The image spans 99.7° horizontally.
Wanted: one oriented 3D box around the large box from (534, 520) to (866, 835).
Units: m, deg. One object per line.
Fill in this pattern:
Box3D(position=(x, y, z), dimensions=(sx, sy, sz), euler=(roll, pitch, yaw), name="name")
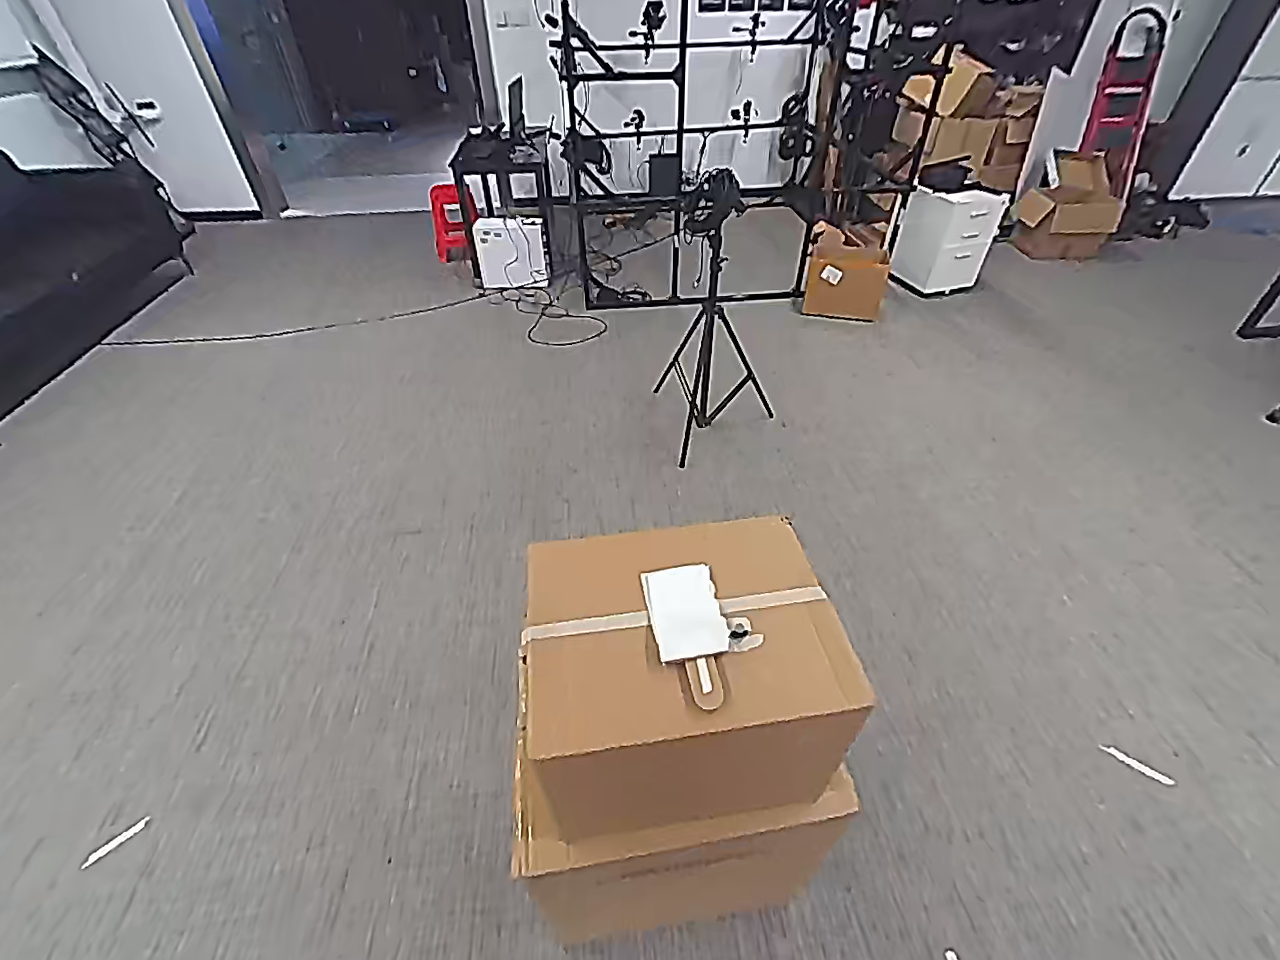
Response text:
Box3D(position=(0.057, 0.297, 0.838), dimensions=(0.408, 0.320, 0.320), euler=(-6, 43, -7), name="large box")
